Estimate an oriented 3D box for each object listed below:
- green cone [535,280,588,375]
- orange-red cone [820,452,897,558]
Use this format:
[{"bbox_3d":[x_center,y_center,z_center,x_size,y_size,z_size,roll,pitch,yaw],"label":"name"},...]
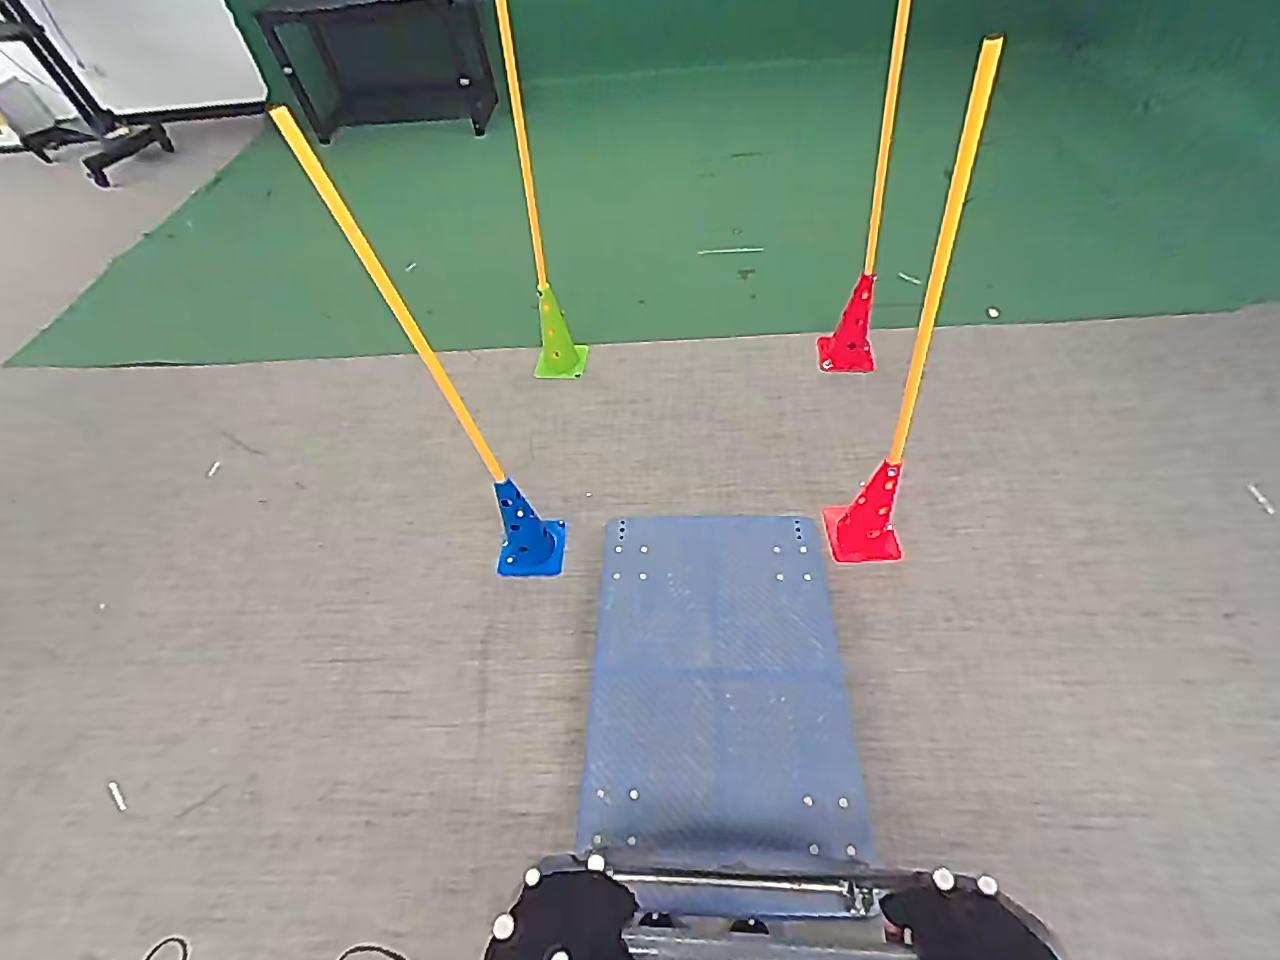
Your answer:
[{"bbox_3d":[-0.338,-0.608,2.098,0.202,0.368,0.200,1,53,7],"label":"green cone"},{"bbox_3d":[0.650,0.049,1.521,0.199,0.360,0.198,-3,52,5],"label":"orange-red cone"}]
